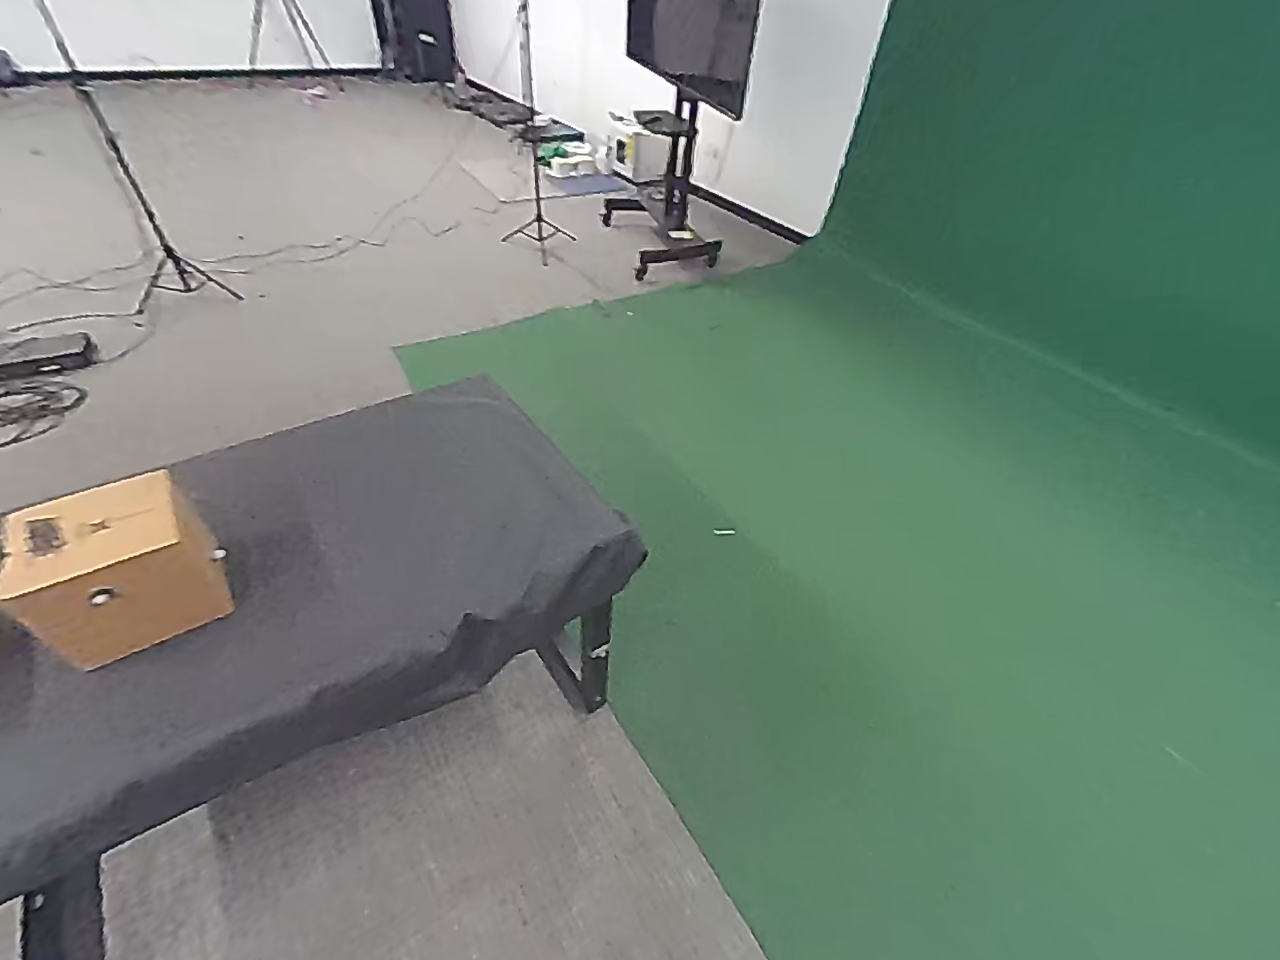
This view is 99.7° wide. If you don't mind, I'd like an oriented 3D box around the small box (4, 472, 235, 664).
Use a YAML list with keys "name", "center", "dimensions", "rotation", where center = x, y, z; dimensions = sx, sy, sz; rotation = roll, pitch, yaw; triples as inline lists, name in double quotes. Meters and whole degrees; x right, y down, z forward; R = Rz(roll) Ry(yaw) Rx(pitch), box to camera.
- name: "small box"
  center: [-0.719, 0.124, 0.764]
  dimensions: [0.179, 0.176, 0.168]
  rotation: [-24, 51, -29]
